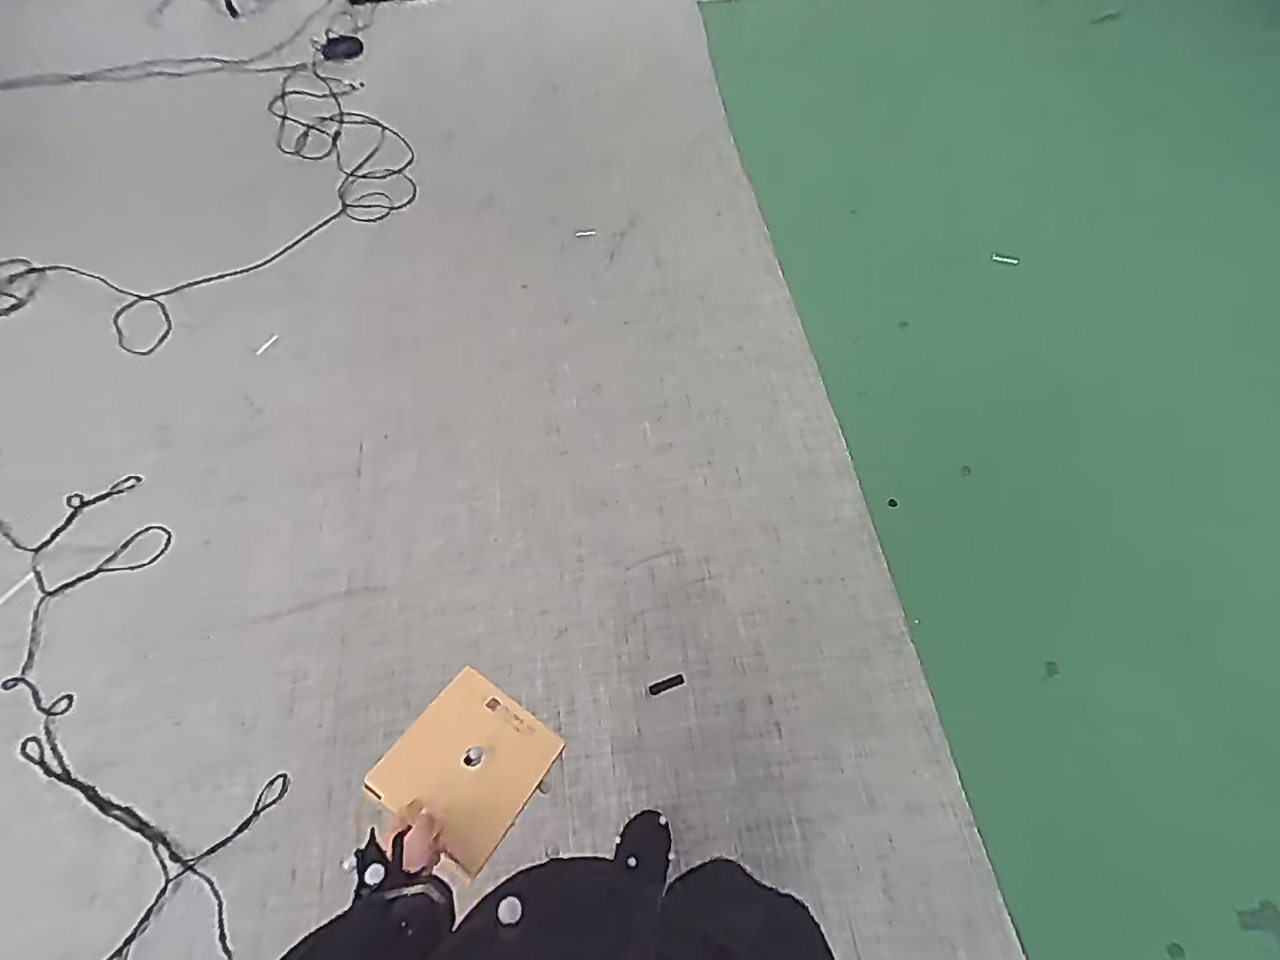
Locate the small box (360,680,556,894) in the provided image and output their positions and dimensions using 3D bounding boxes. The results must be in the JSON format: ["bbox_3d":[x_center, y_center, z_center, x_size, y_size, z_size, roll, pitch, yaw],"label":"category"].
[{"bbox_3d":[-0.229,0.393,0.702,0.168,0.179,0.176,34,48,8],"label":"small box"}]
